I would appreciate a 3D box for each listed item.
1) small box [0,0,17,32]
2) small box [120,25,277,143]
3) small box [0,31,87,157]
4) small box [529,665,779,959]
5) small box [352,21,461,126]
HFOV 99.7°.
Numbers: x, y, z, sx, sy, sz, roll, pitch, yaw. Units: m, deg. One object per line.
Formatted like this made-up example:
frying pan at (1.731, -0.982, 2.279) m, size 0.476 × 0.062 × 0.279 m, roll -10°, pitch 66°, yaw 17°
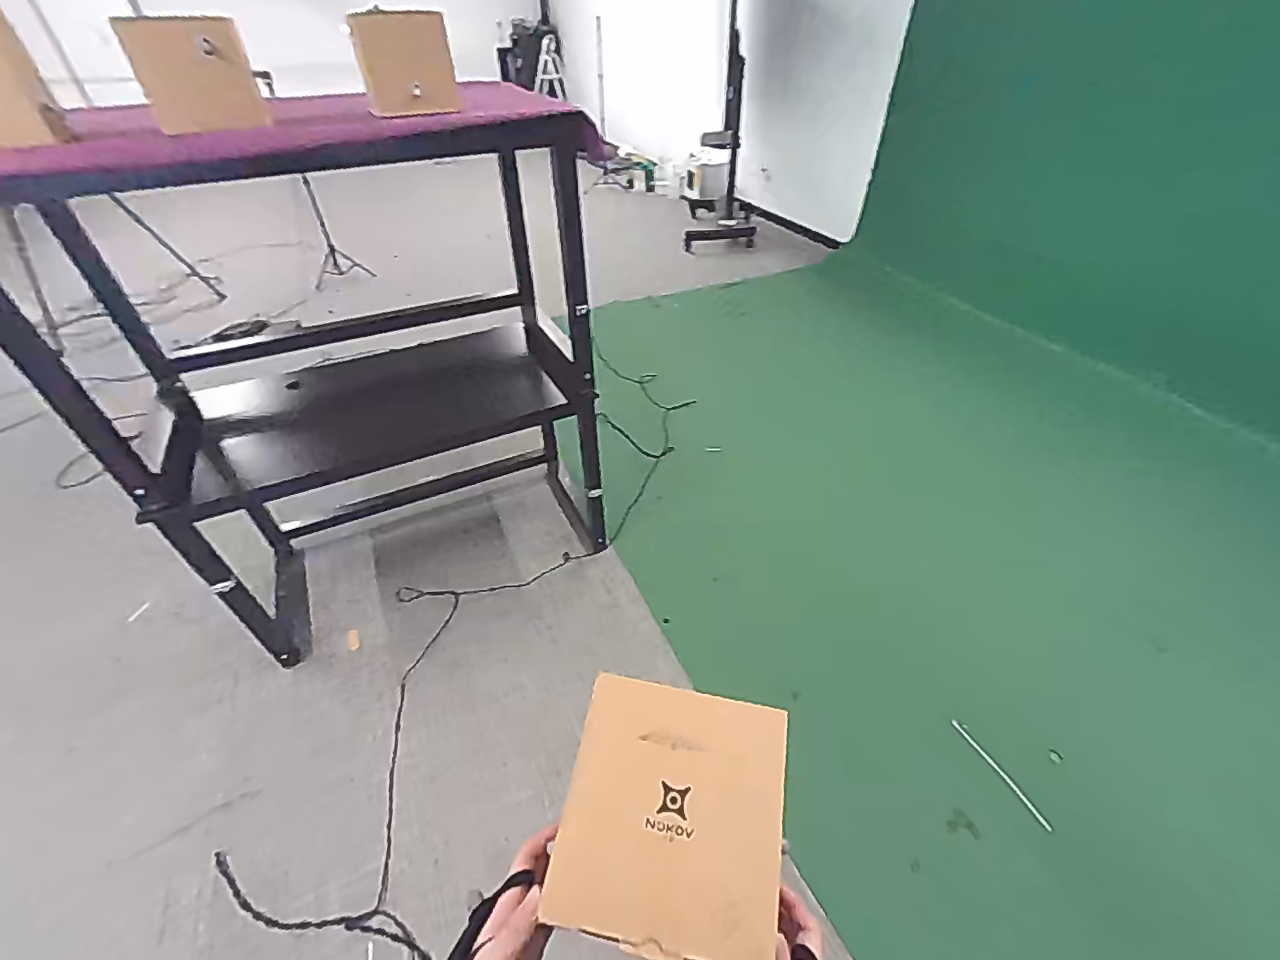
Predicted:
small box at (-1.126, -0.784, 0.823) m, size 0.168 × 0.176 × 0.179 m, roll -22°, pitch 44°, yaw -22°
small box at (-0.831, -0.765, 1.043) m, size 0.179 × 0.176 × 0.168 m, roll -18°, pitch 43°, yaw -18°
small box at (-1.123, -0.658, 0.926) m, size 0.179 × 0.176 × 0.168 m, roll -20°, pitch 45°, yaw -22°
small box at (0.020, 0.290, 0.476) m, size 0.168 × 0.176 × 0.179 m, roll 9°, pitch 53°, yaw 7°
small box at (-0.495, -0.874, 1.161) m, size 0.179 × 0.176 × 0.168 m, roll -18°, pitch 42°, yaw -19°
